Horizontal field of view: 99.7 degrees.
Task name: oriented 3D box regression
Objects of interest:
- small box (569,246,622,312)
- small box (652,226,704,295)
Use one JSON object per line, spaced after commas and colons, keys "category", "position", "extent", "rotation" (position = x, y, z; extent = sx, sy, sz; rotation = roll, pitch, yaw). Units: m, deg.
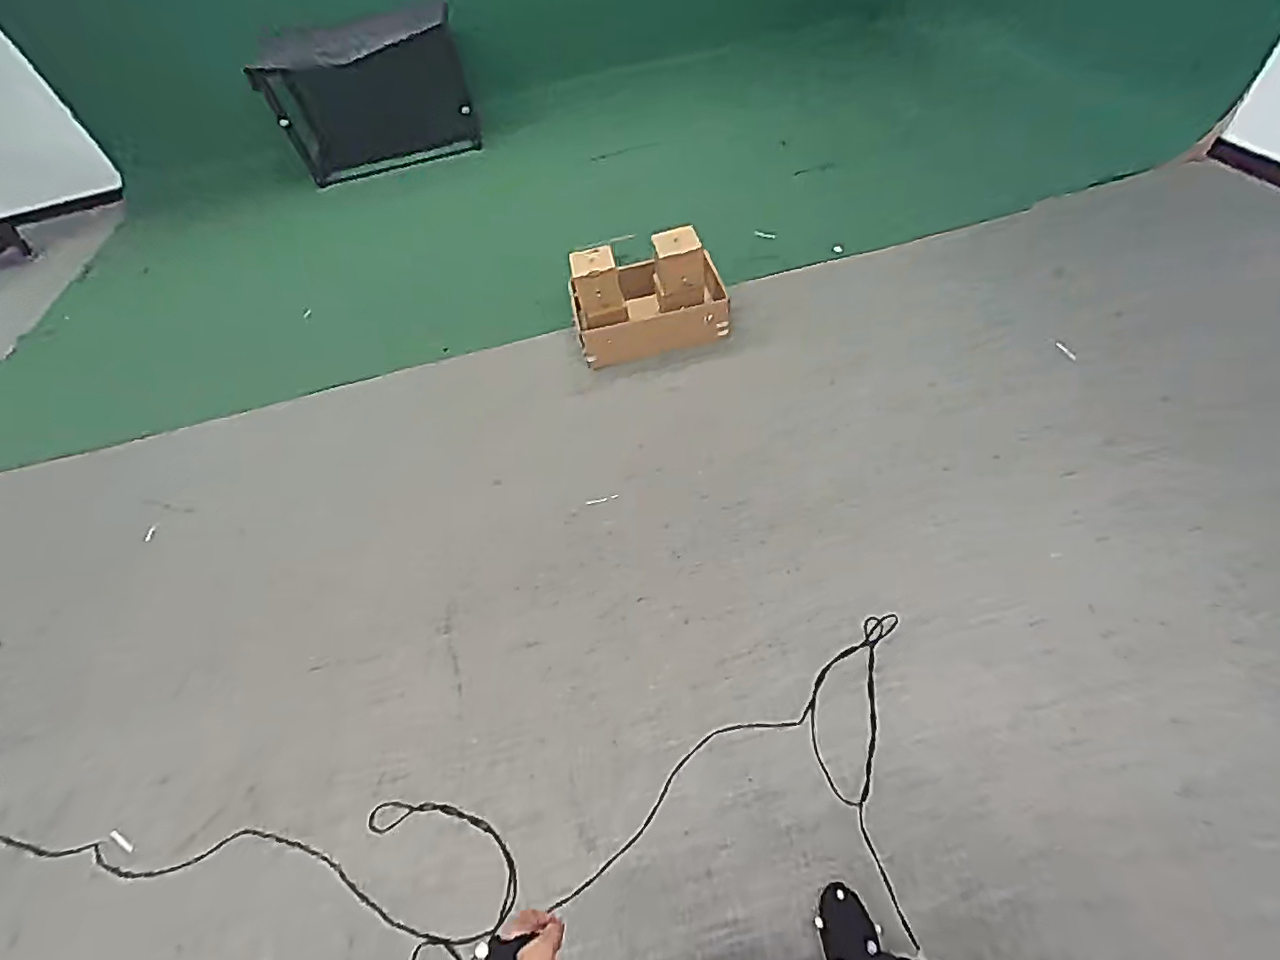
{"category": "small box", "position": [-0.172, -0.780, 2.118], "extent": [0.168, 0.176, 0.179], "rotation": [-12, 53, 1]}
{"category": "small box", "position": [0.150, -0.859, 2.121], "extent": [0.168, 0.176, 0.179], "rotation": [-15, 53, 0]}
